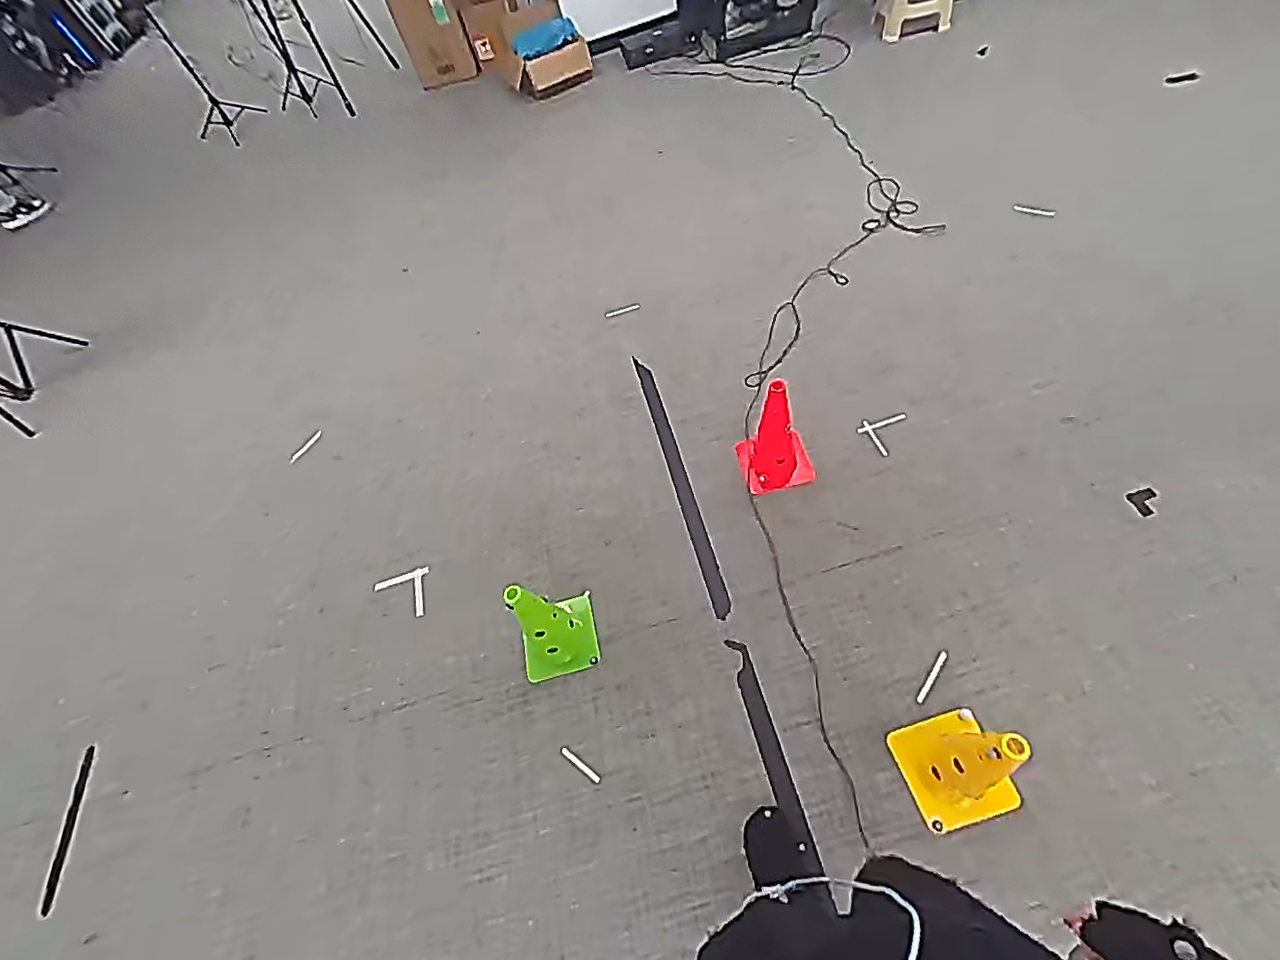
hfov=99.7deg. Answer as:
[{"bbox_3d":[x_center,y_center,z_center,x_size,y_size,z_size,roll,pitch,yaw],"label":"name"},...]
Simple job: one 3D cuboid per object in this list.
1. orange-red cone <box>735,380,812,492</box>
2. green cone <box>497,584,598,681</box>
[{"bbox_3d":[0.376,-0.147,1.509,0.199,0.360,0.198,-12,57,3],"label":"orange-red cone"},{"bbox_3d":[-0.255,0.335,1.330,0.202,0.368,0.200,-18,56,2],"label":"green cone"}]
